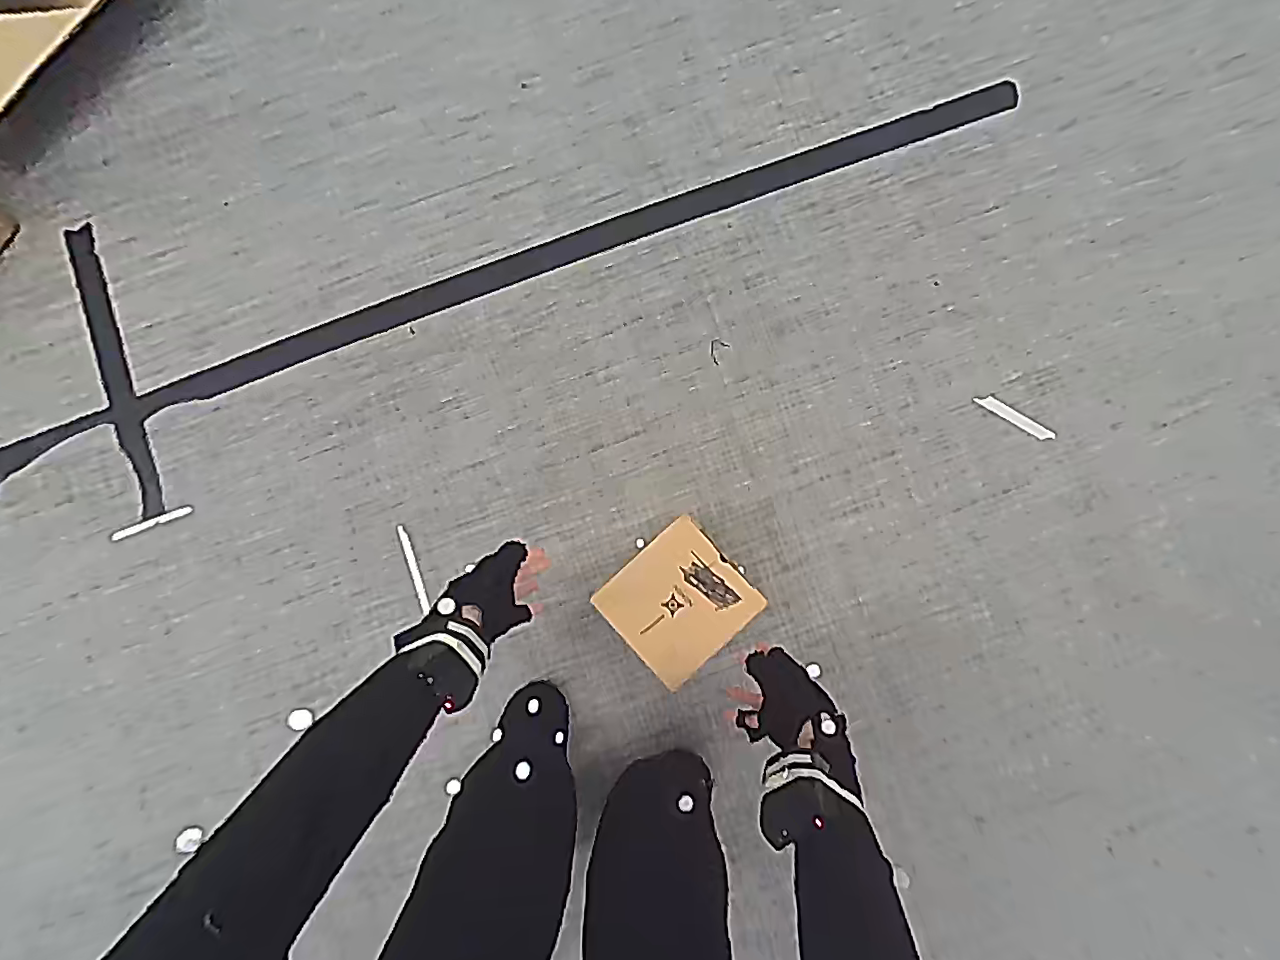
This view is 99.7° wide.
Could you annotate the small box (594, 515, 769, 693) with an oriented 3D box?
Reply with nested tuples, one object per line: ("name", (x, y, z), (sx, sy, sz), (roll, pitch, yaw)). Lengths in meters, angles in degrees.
("small box", (0.054, 0.165, 0.787), (0.179, 0.176, 0.168), (-42, 86, -1))
